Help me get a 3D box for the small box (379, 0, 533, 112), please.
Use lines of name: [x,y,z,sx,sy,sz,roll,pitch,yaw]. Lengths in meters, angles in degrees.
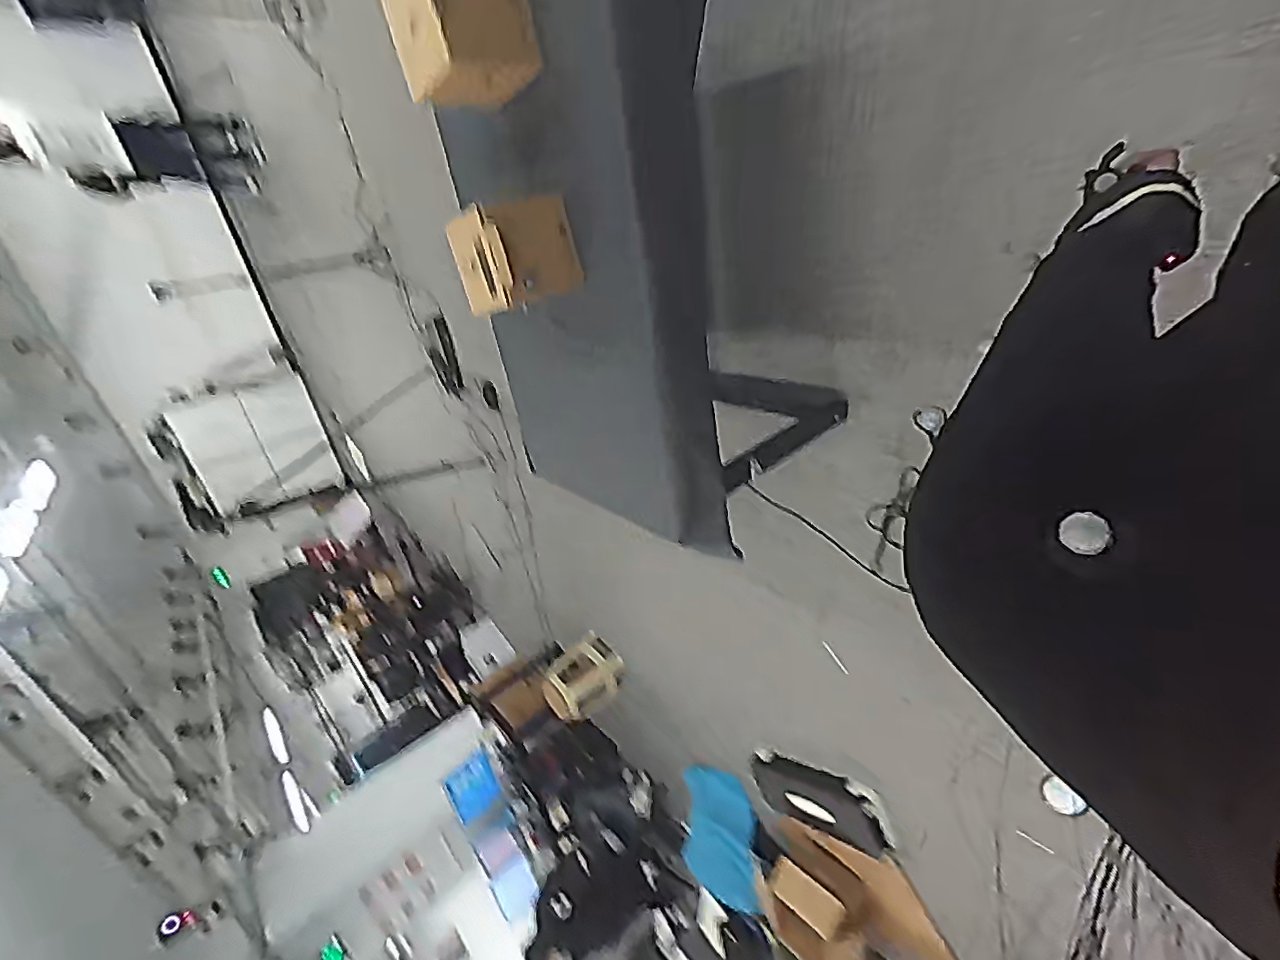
small box: [-0.291,-0.727,0.881,0.179,0.176,0.168,14,123,50]
